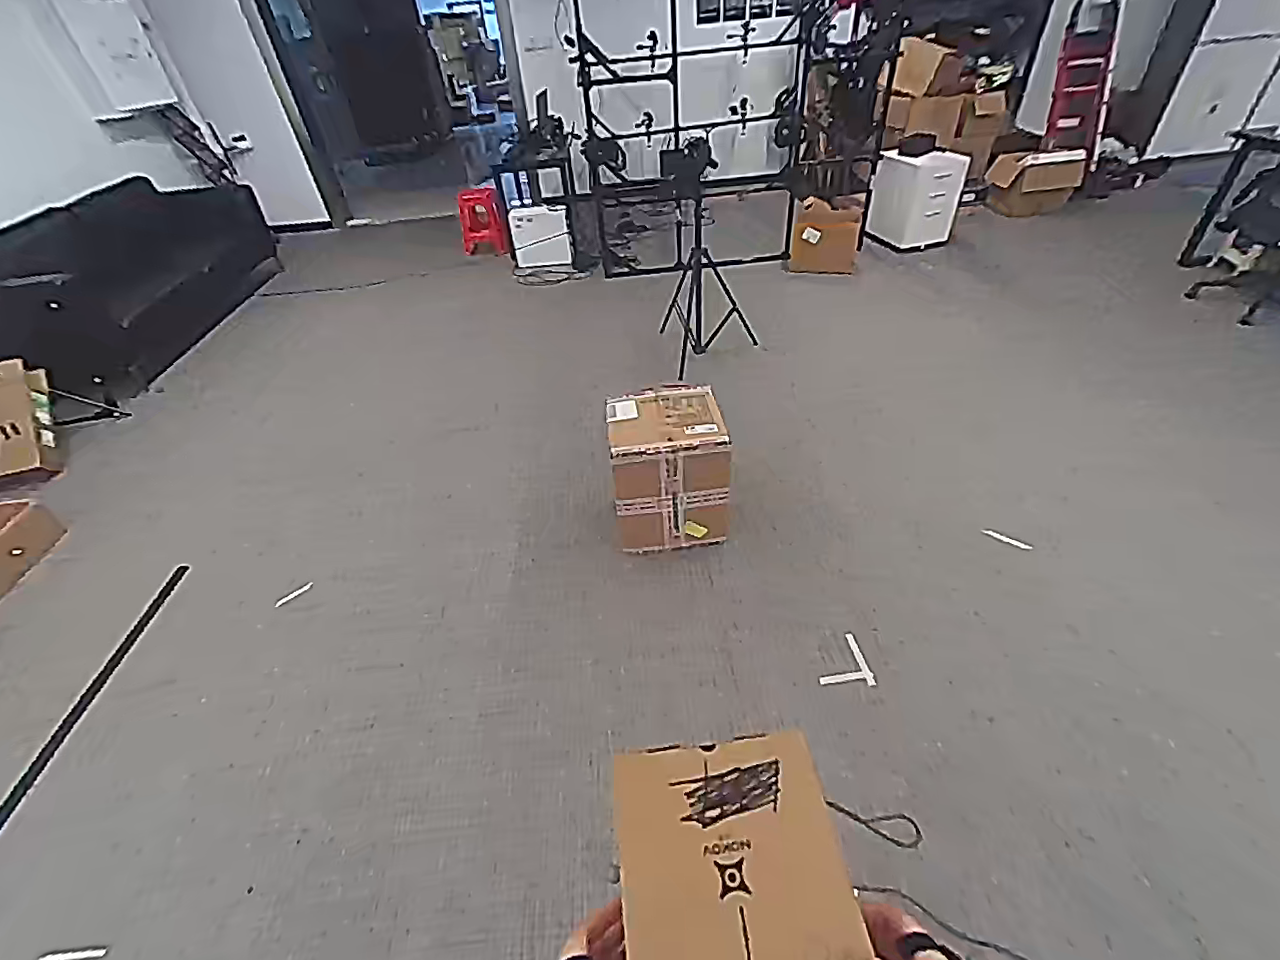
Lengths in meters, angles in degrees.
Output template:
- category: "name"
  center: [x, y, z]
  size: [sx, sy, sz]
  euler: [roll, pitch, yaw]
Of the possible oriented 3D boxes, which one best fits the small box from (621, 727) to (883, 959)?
- category: "small box"
  center: [0.076, 0.338, 0.454]
  size: [0.168, 0.176, 0.179]
  euler: [-7, 44, -2]
